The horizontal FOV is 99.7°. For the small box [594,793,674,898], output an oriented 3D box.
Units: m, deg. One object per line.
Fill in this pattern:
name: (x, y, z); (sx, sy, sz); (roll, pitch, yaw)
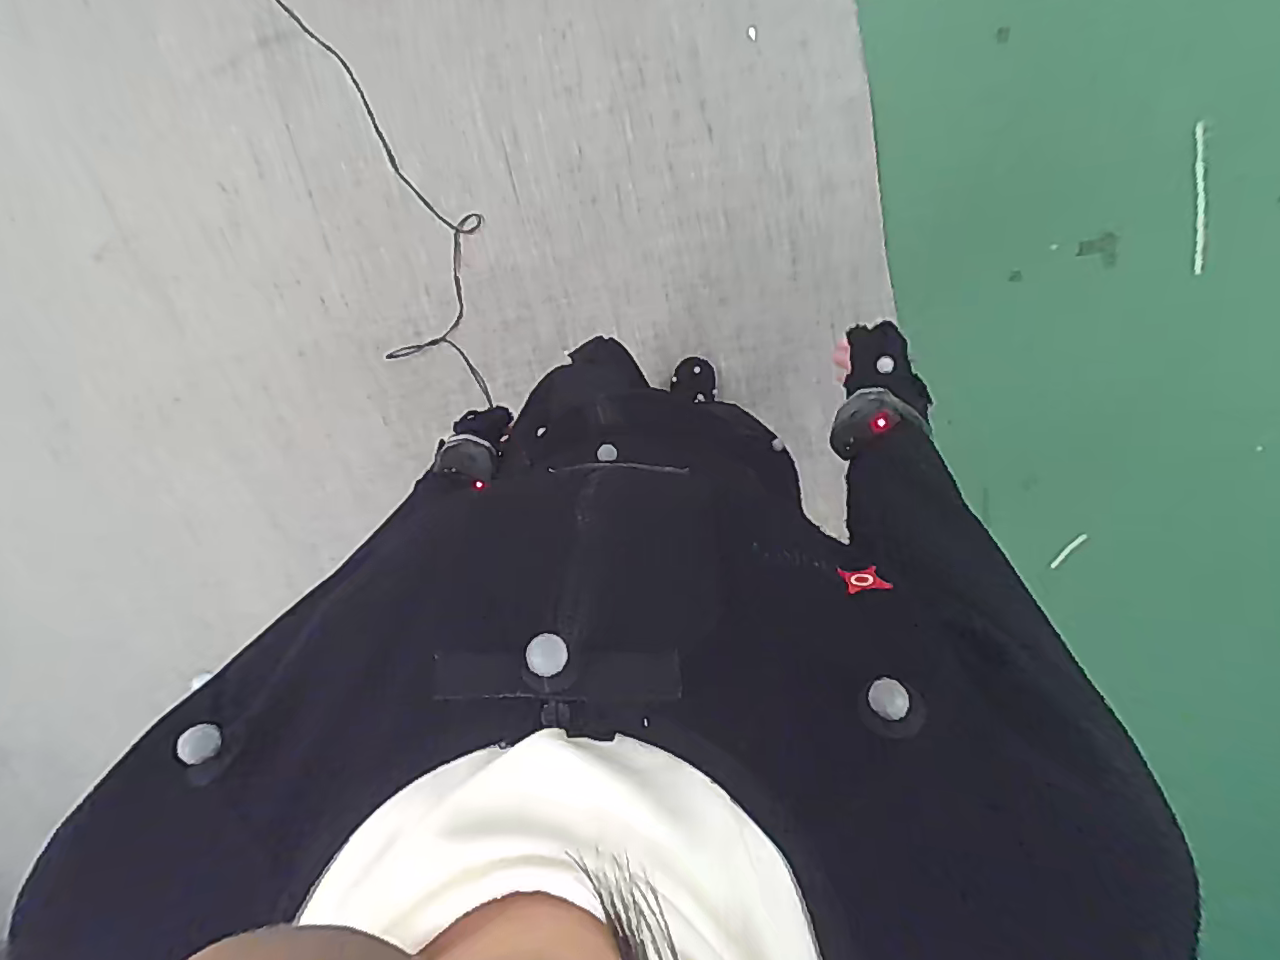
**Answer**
small box: (-0.010, 0.964, 1.437); (0.179, 0.176, 0.168); (-8, 103, 8)
